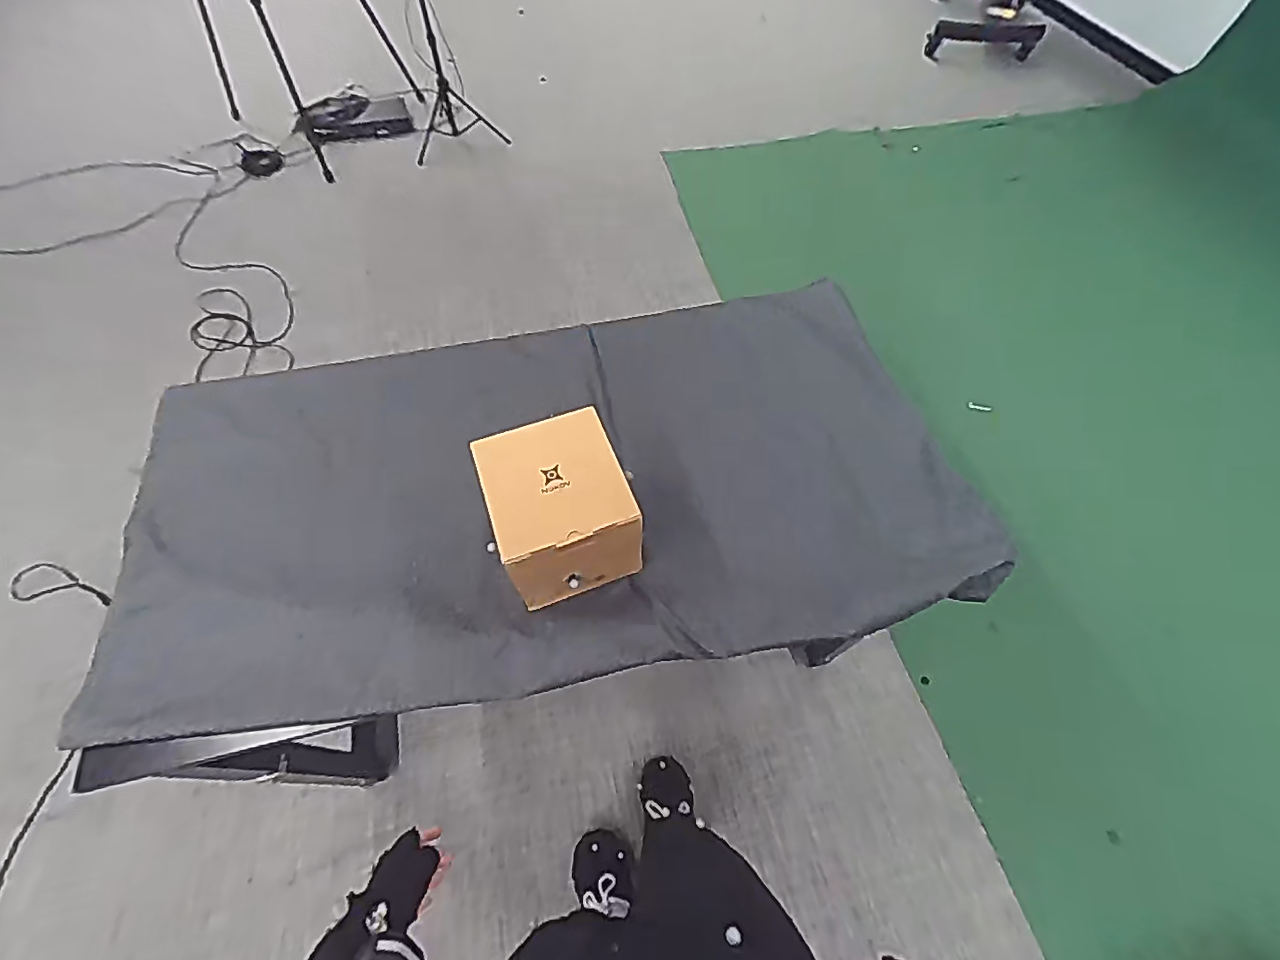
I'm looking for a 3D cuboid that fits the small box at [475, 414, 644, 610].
[{"bbox_3d":[-0.104,0.046,0.716,0.168,0.176,0.179,-18,62,-13],"label":"small box"}]
